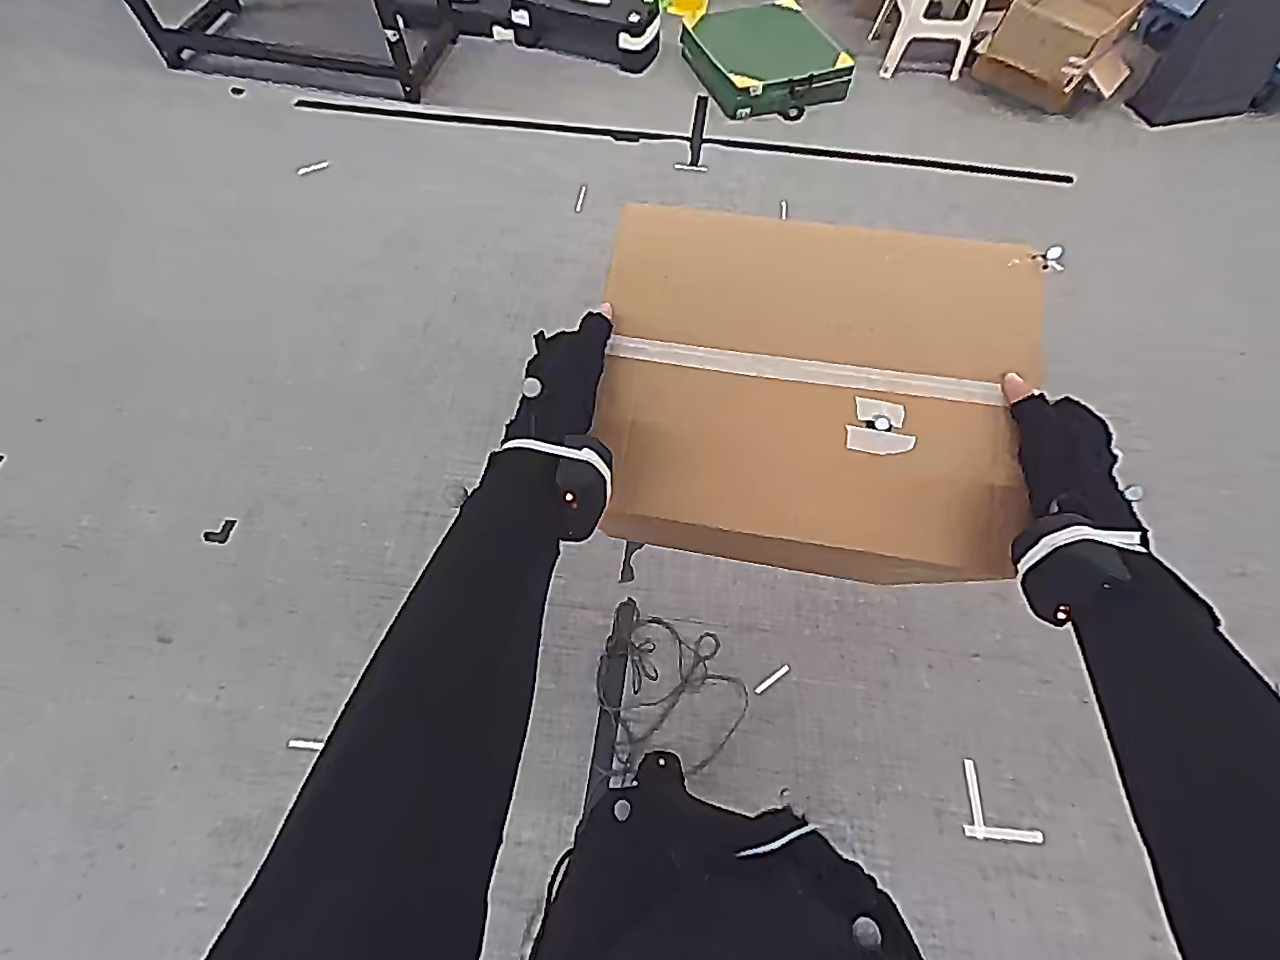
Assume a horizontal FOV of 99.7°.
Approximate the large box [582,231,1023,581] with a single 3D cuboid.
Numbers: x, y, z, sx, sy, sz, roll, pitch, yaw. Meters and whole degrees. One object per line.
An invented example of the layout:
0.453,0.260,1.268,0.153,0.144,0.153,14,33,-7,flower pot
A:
0.166,-0.060,0.669,0.408,0.320,0.320,9,80,4,large box
